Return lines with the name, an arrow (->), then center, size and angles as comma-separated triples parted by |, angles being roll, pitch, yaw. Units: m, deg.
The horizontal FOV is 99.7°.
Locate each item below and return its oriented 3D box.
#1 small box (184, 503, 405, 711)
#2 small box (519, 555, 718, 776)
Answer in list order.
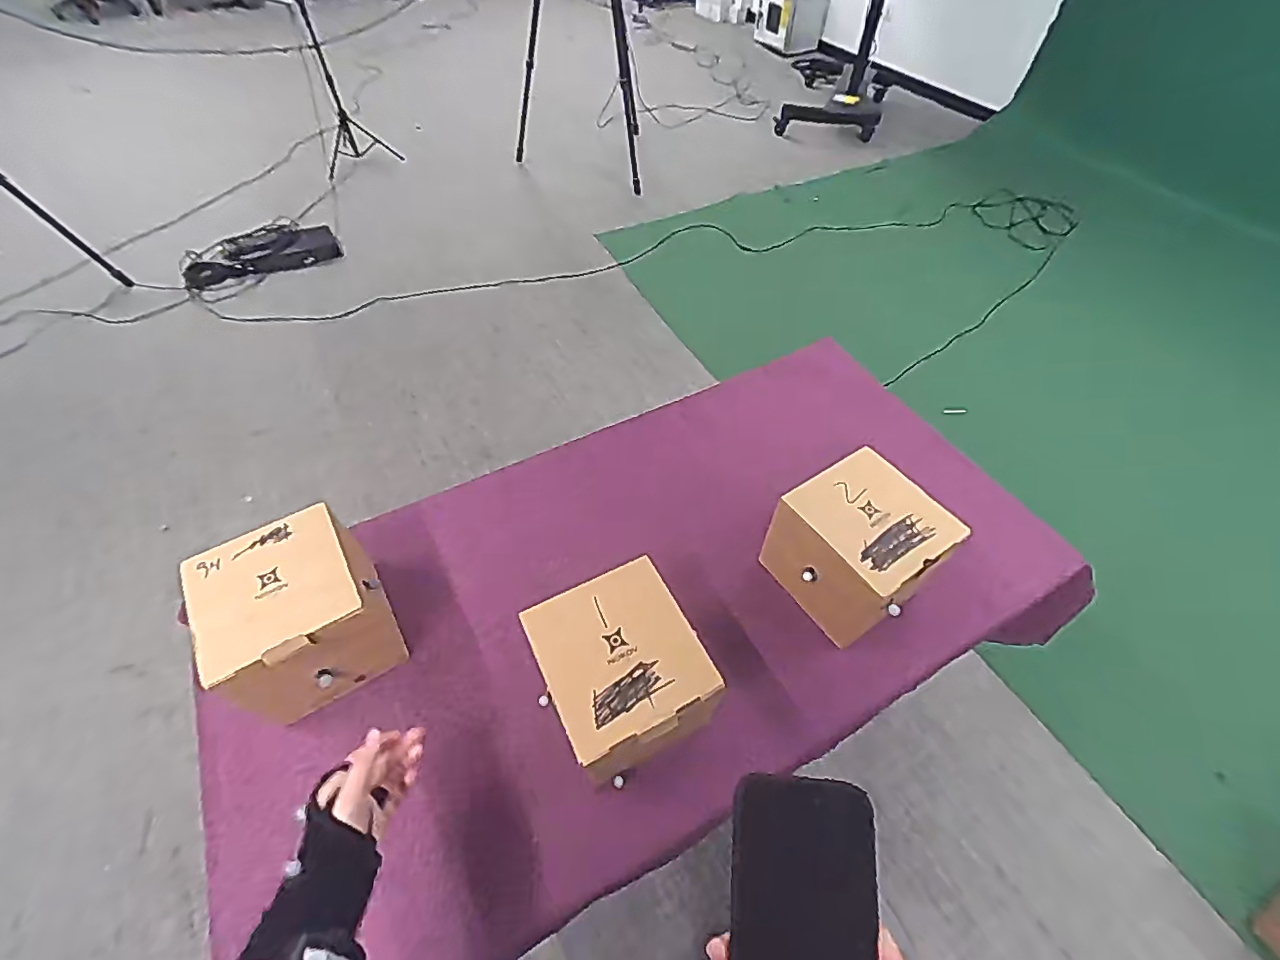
small box -> -0.424, 0.168, 0.686 | 0.168, 0.176, 0.179 | -27, 59, -20
small box -> -0.026, 0.227, 0.646 | 0.168, 0.176, 0.179 | -22, 55, -17
